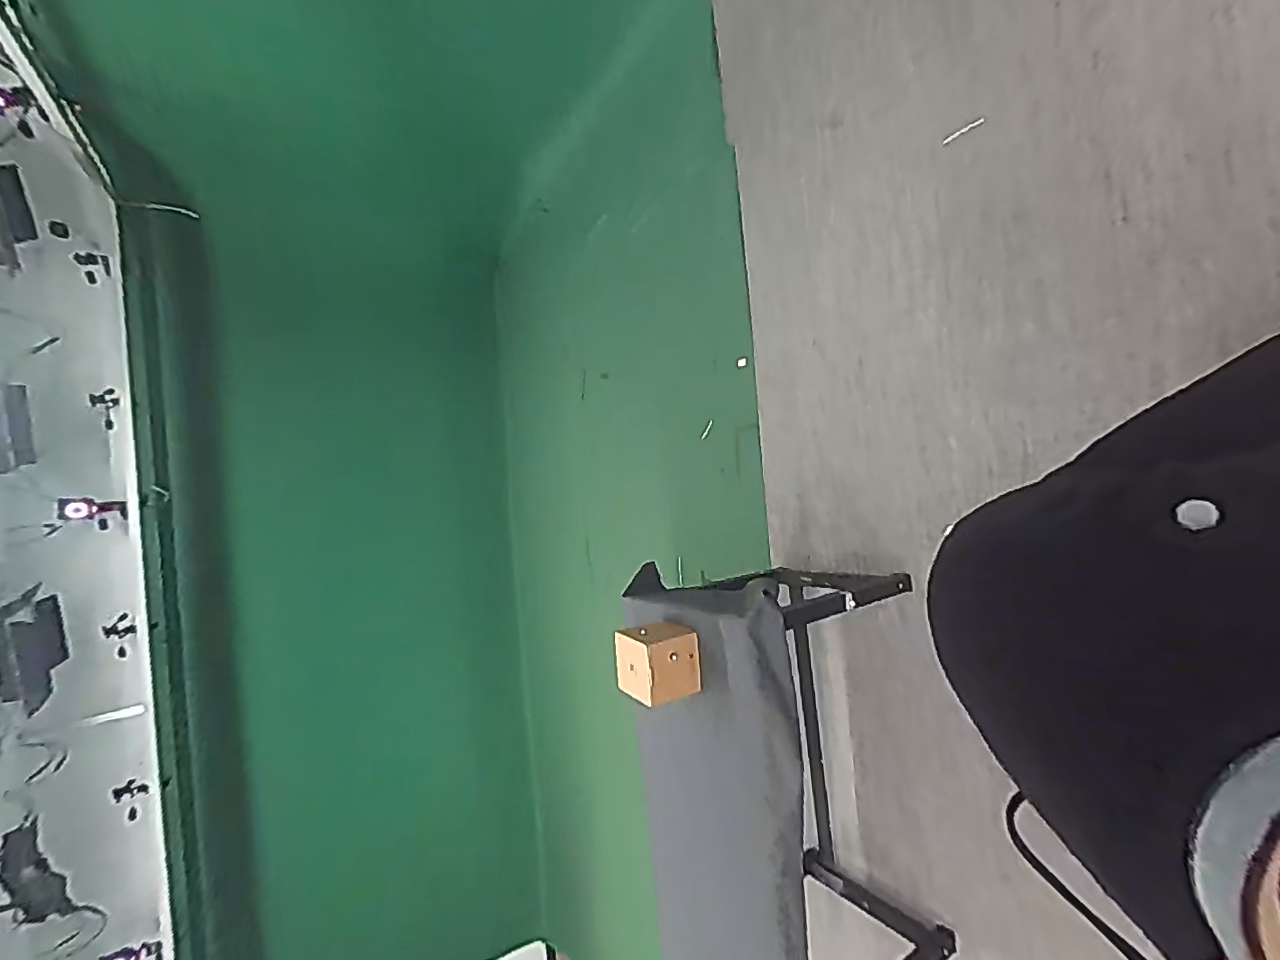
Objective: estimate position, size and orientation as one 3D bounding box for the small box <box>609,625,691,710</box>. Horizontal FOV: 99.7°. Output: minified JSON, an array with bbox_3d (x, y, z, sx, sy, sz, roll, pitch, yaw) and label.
[{"bbox_3d":[0.032,0.512,1.507,0.179,0.176,0.168,-3,89,59],"label":"small box"}]
